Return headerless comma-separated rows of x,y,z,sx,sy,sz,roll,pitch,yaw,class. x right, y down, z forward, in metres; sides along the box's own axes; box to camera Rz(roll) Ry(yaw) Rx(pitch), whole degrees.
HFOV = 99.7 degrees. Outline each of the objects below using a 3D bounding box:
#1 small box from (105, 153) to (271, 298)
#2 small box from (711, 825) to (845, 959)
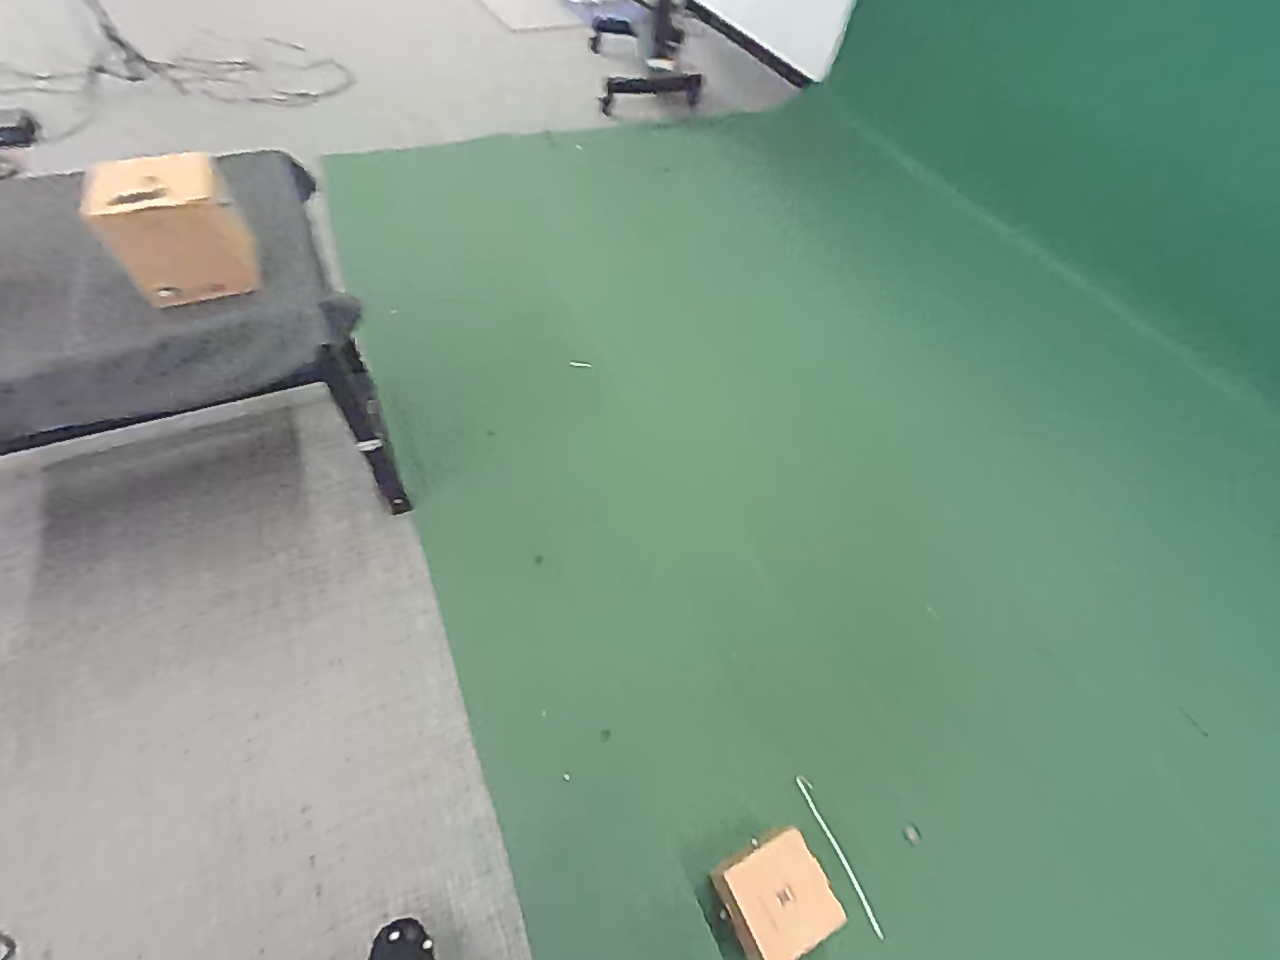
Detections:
-0.779,-0.440,0.952,0.168,0.176,0.179,-18,57,-17,small box
0.264,0.819,1.078,0.179,0.176,0.168,-21,59,-18,small box
